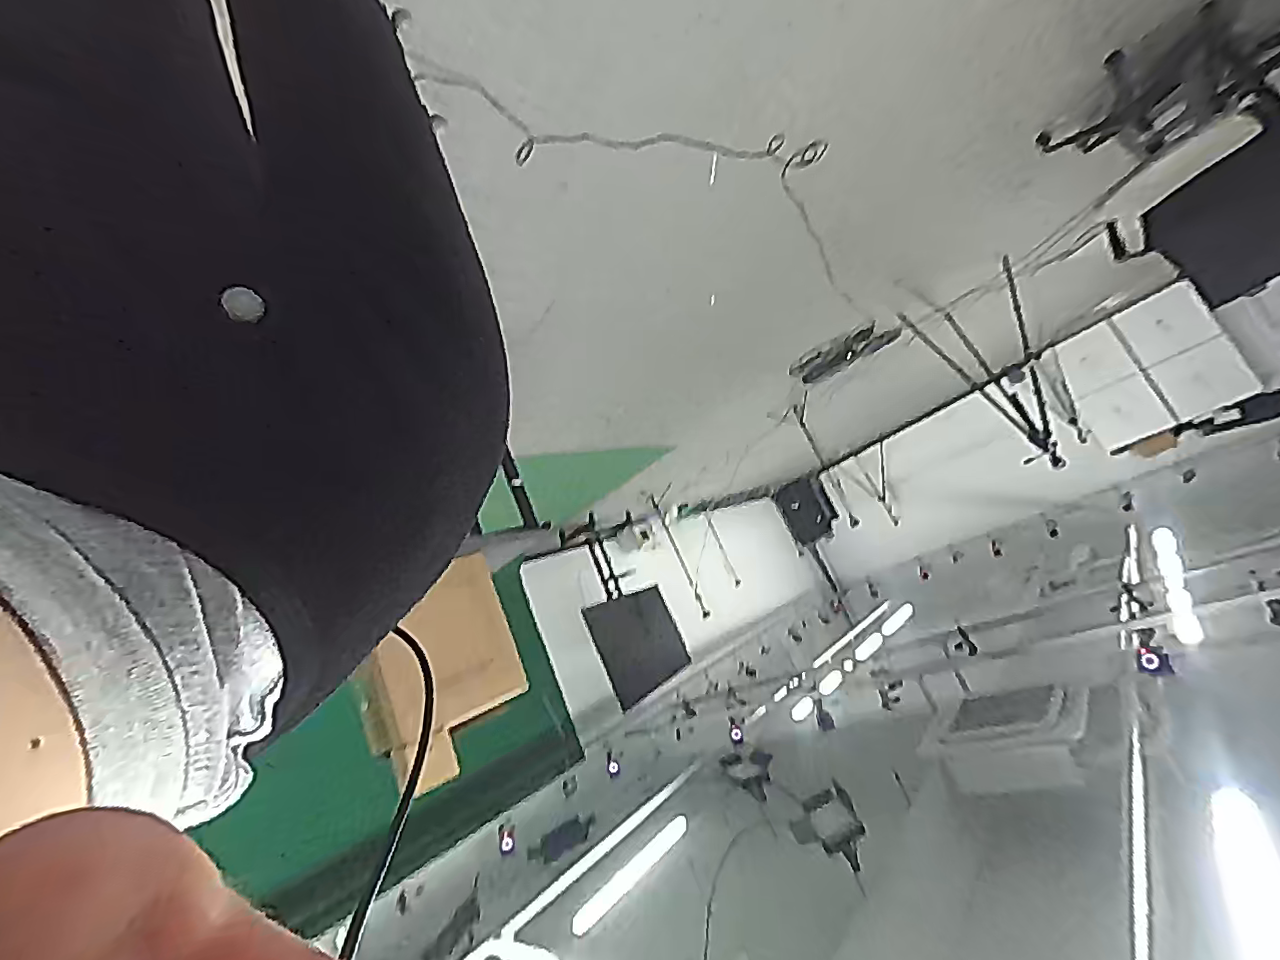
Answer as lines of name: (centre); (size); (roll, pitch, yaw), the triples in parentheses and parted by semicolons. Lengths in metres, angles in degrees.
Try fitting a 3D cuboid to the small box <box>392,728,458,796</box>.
small box: (-0.809, 1.051, 2.022); (0.168, 0.176, 0.179); (-9, 160, -45)
